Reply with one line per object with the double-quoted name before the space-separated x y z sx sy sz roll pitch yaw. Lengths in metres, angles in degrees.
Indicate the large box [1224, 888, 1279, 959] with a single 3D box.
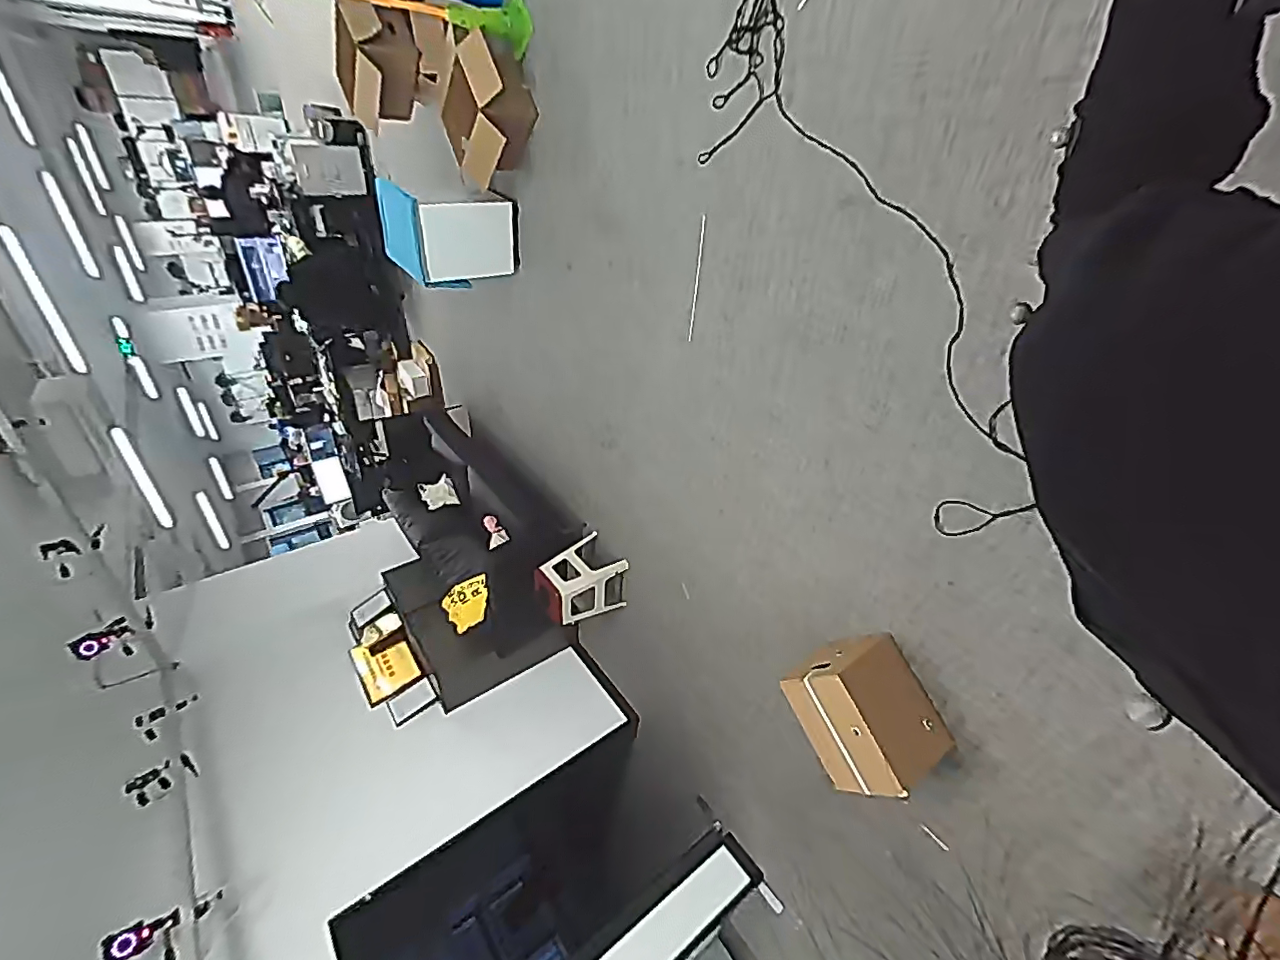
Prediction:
"large box" 1.472 1.172 1.086 0.408 0.320 0.320 24 127 48
